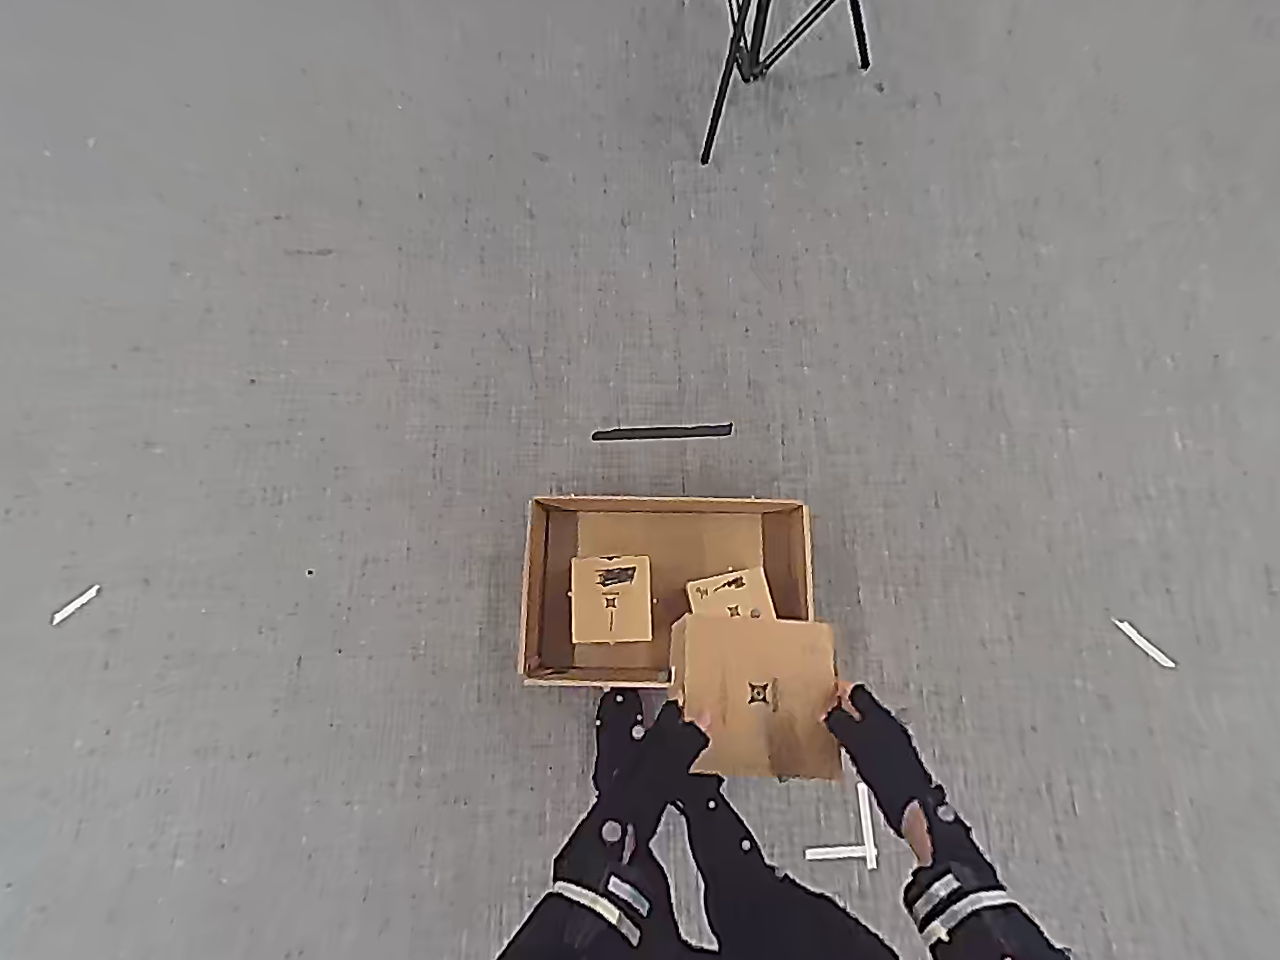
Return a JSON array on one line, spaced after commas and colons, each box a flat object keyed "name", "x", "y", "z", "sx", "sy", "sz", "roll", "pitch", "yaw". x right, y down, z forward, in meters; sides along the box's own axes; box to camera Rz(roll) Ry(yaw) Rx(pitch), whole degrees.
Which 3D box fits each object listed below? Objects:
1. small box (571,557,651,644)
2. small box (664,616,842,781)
[{"name": "small box", "x": -0.062, "y": 0.265, "z": 1.197, "sx": 0.168, "sy": 0.176, "sz": 0.179, "roll": -1, "pitch": 78, "yaw": 0}, {"name": "small box", "x": 0.128, "y": 0.268, "z": 0.674, "sx": 0.179, "sy": 0.176, "sz": 0.168, "roll": 3, "pitch": 68, "yaw": -2}]
